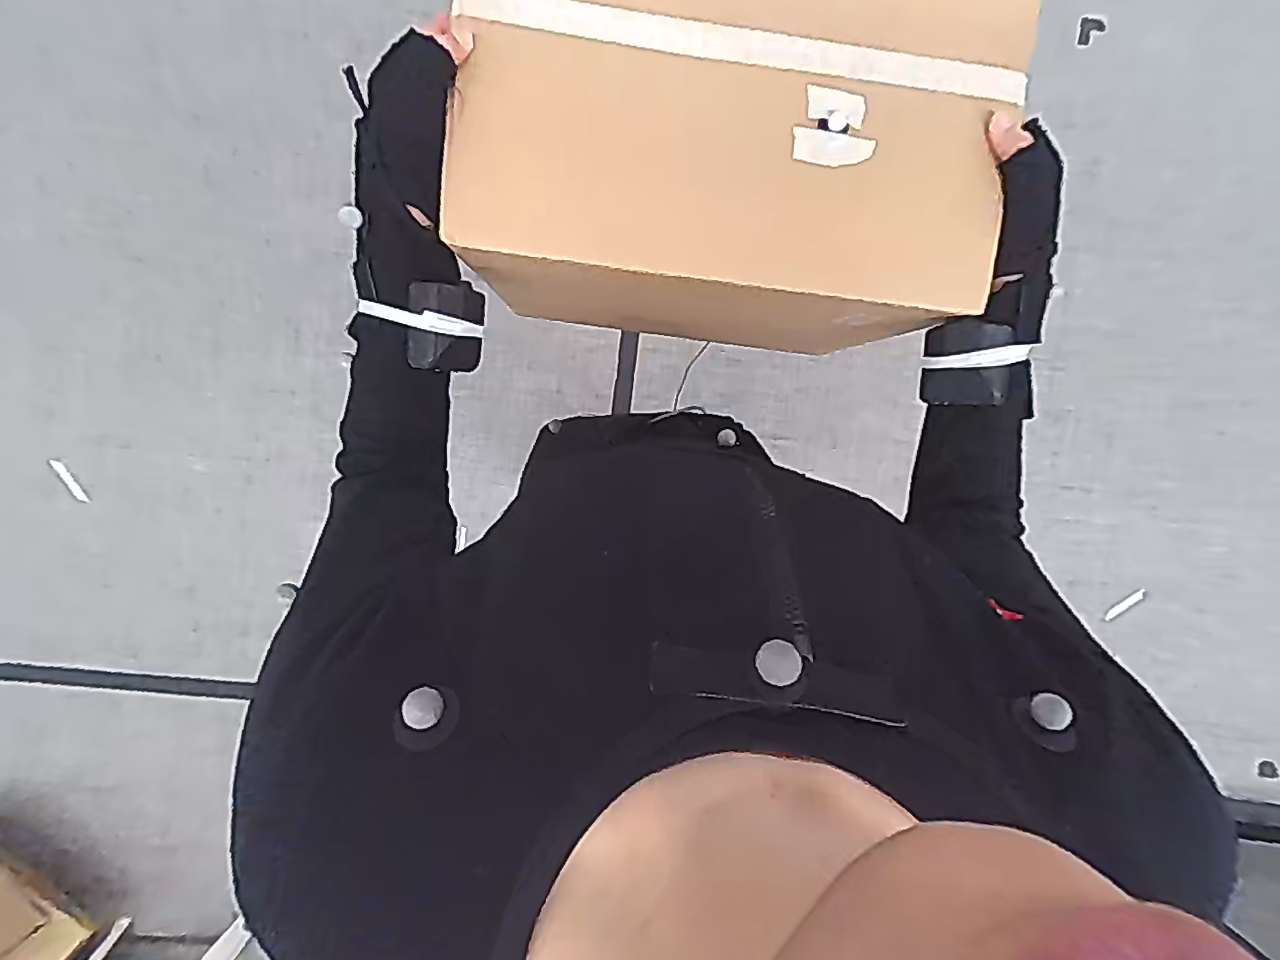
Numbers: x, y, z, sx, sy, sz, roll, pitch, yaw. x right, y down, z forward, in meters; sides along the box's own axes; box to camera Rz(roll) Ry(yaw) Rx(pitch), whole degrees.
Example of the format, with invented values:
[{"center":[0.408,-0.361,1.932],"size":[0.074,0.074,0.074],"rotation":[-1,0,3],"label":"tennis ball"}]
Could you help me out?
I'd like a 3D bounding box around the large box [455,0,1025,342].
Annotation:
[{"center":[0.064,-0.328,0.534],"size":[0.408,0.320,0.320],"rotation":[6,98,-5],"label":"large box"}]
